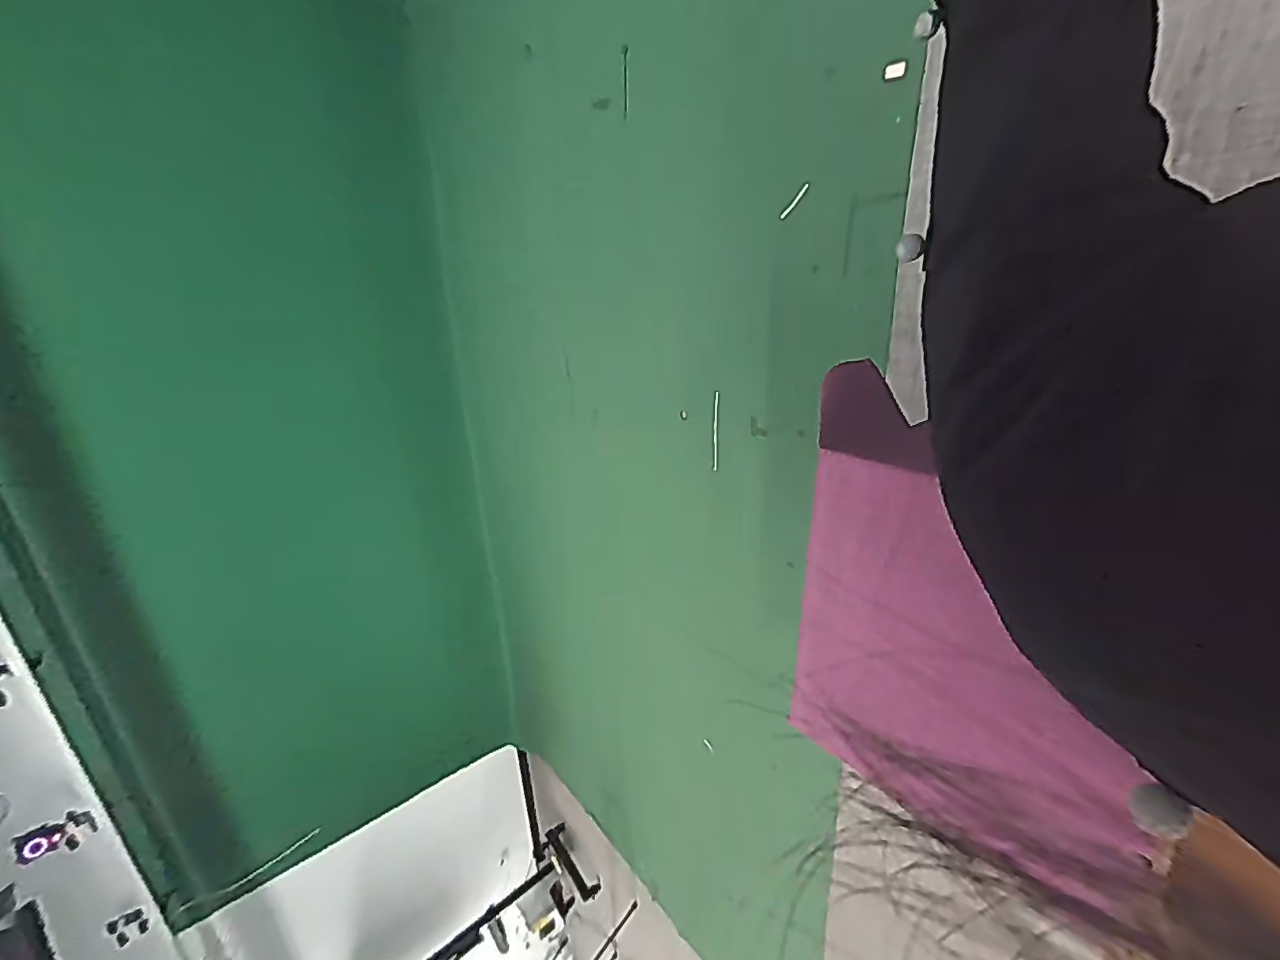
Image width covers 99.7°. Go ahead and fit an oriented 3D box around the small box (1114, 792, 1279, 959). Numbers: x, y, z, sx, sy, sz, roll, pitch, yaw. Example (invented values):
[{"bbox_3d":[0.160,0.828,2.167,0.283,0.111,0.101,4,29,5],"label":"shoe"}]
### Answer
[{"bbox_3d":[0.509,0.395,0.419,0.179,0.176,0.168,26,125,45],"label":"small box"}]
